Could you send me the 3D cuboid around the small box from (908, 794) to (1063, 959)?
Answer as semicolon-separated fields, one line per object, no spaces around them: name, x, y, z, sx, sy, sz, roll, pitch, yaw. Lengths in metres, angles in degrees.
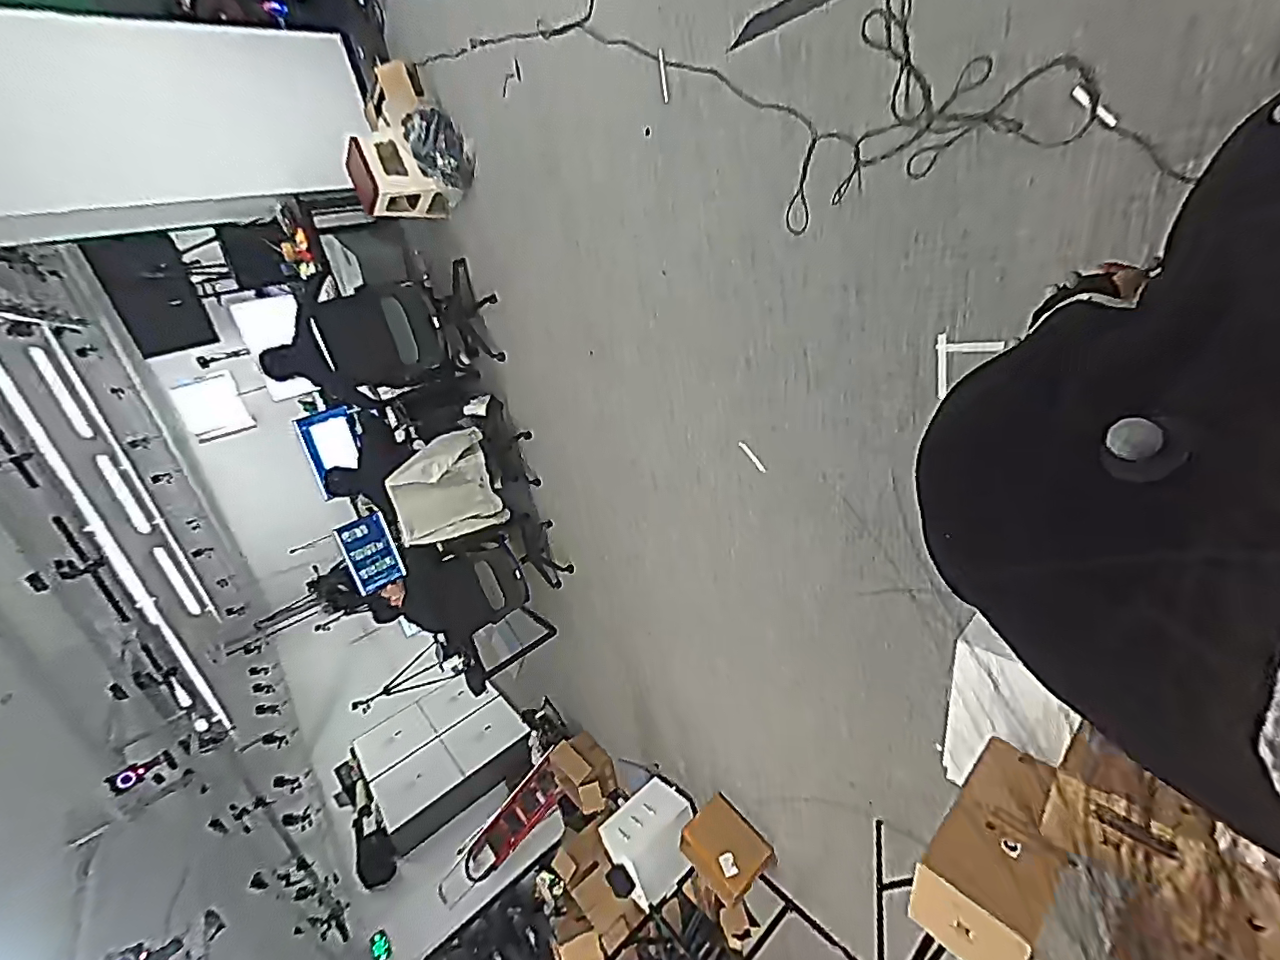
small box;0.580;0.689;0.913;0.168;0.176;0.179;21;127;45

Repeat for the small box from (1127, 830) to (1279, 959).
small box;0.866;0.684;0.816;0.168;0.176;0.179;24;131;45

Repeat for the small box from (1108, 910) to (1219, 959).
small box;0.739;0.752;0.737;0.168;0.176;0.179;23;130;46
